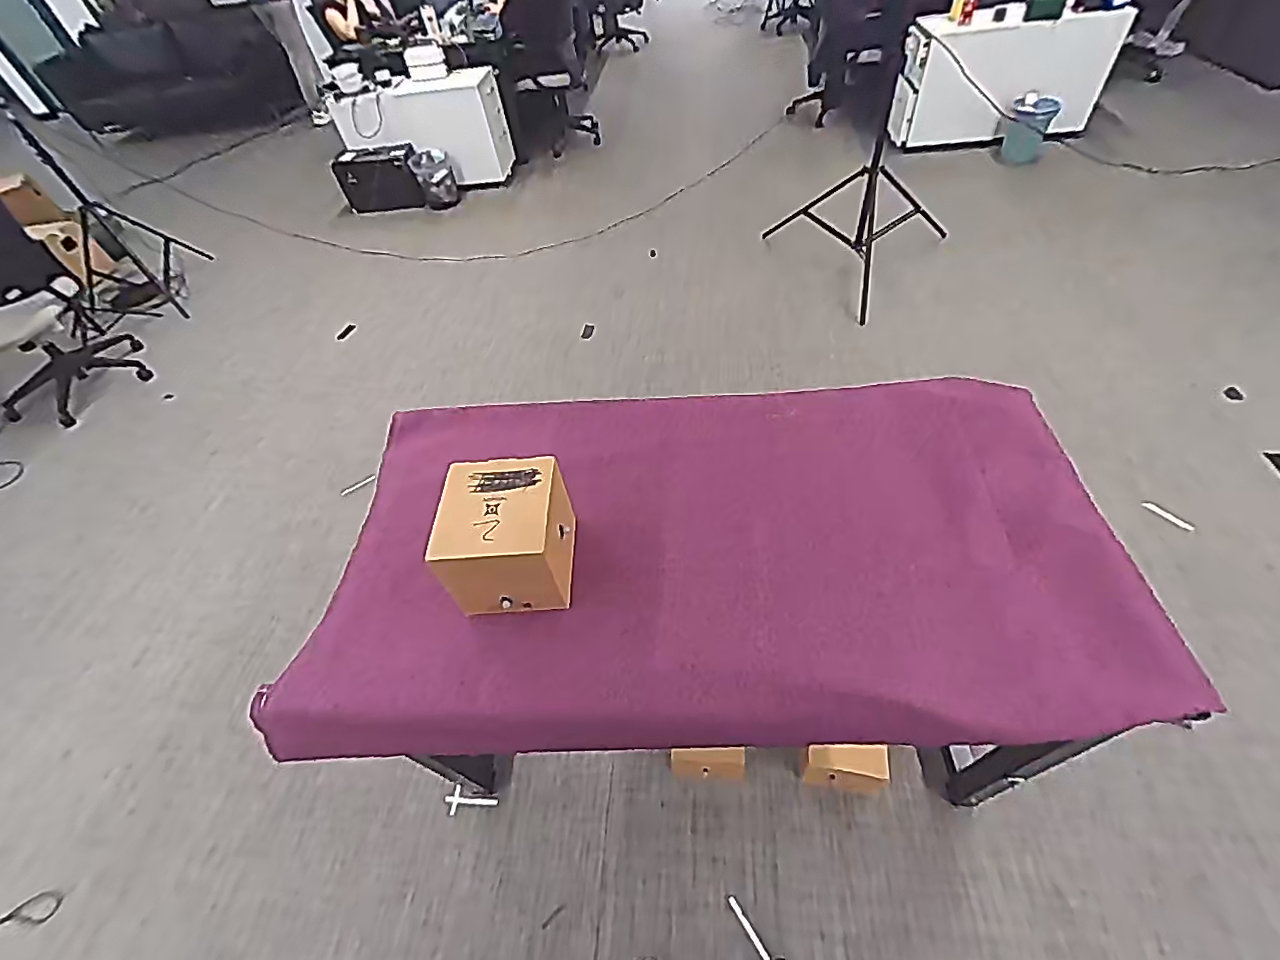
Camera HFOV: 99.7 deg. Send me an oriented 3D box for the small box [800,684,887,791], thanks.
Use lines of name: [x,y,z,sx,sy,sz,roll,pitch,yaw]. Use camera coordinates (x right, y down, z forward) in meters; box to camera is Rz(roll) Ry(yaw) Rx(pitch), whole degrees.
small box: [0.471,0.607,1.269,0.168,0.176,0.179,5,51,13]

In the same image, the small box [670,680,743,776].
small box: [0.165,0.605,1.311,0.168,0.176,0.179,0,50,7]
